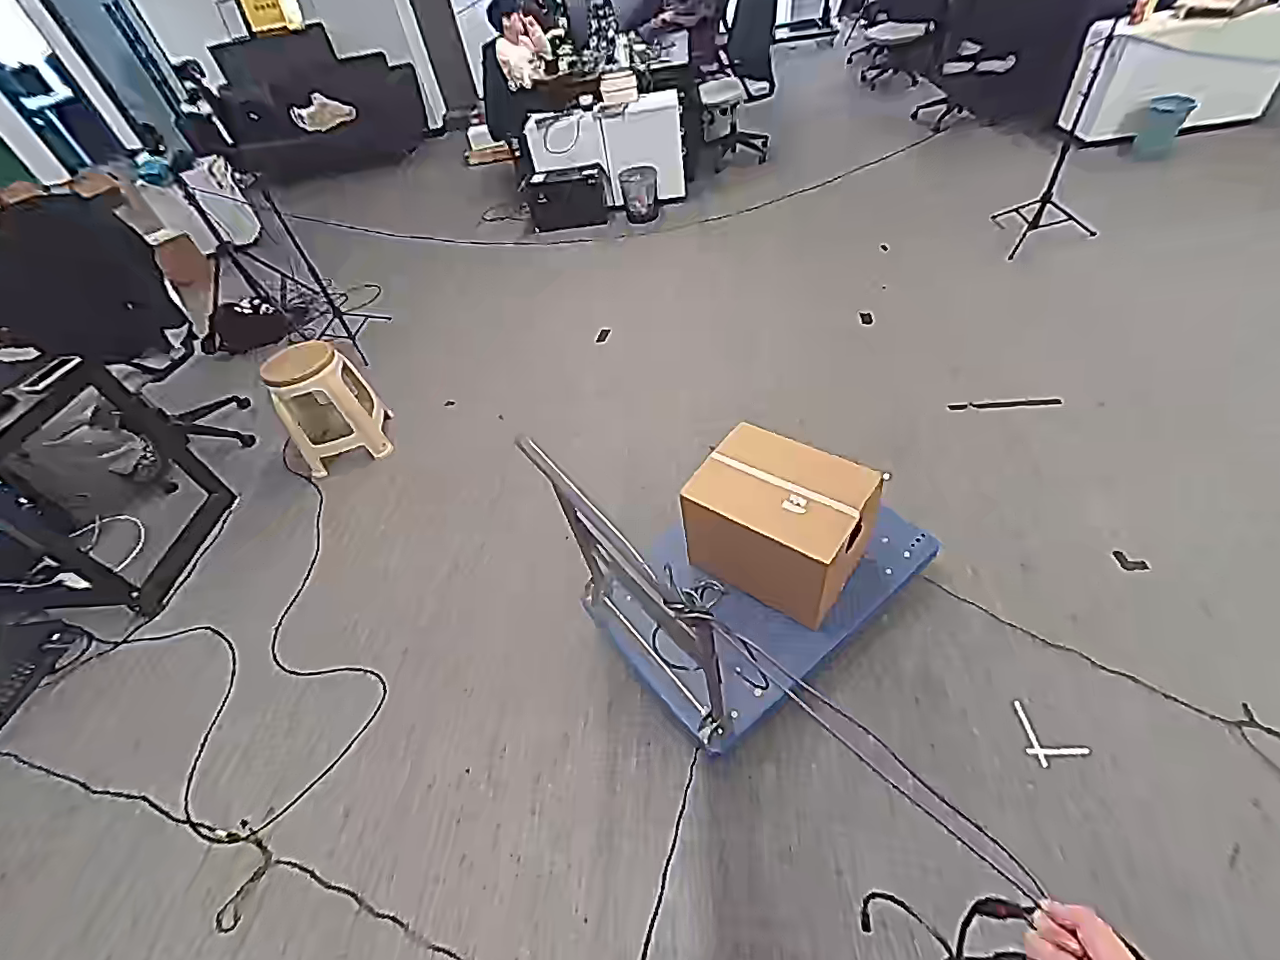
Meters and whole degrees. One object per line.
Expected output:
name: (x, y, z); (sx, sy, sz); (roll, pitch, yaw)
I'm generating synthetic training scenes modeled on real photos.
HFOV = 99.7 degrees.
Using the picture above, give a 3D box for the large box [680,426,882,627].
large box: (0.360, 0.115, 1.443); (0.408, 0.320, 0.320); (26, 58, 29)
